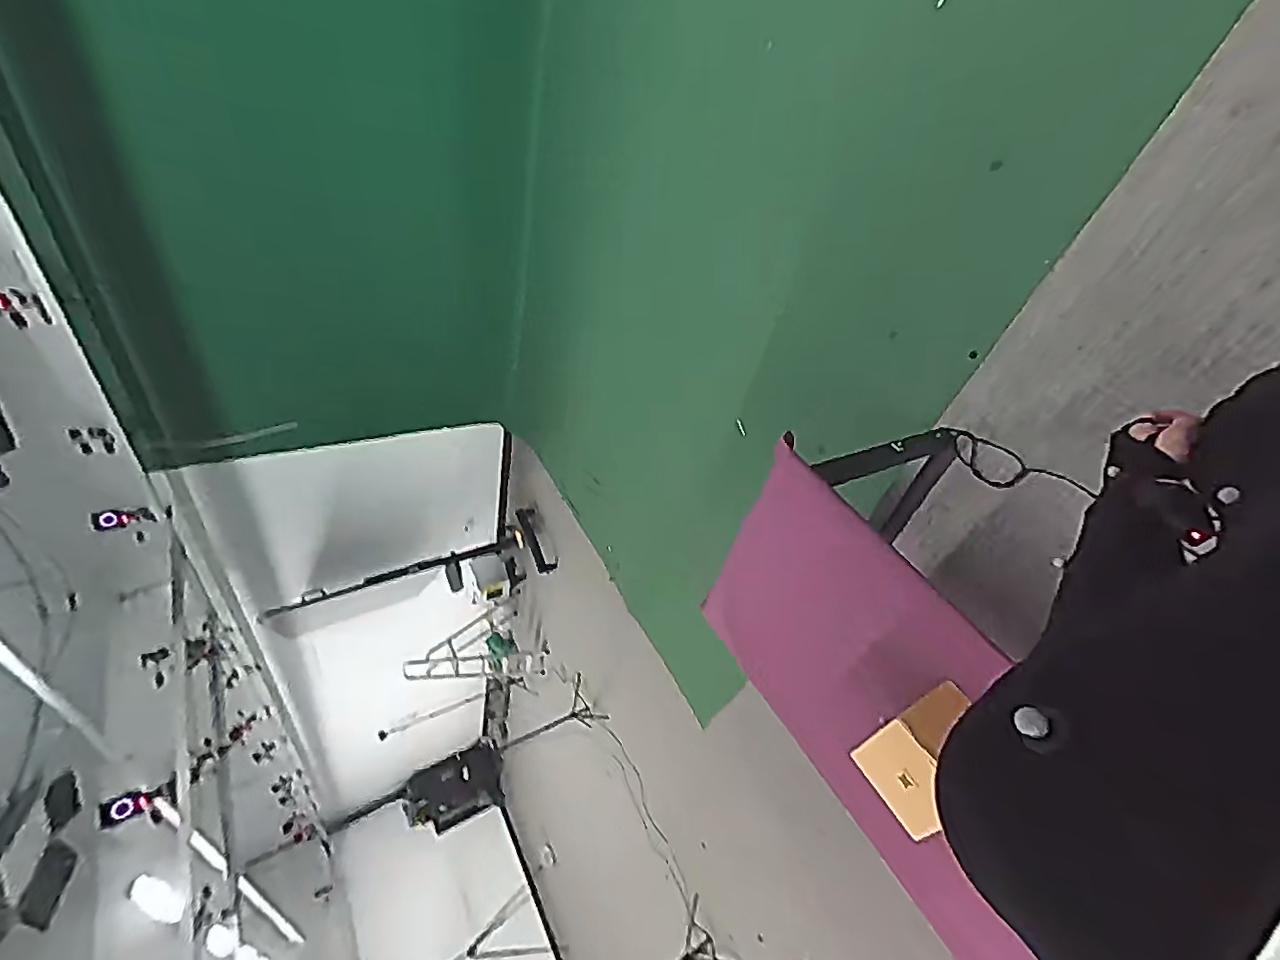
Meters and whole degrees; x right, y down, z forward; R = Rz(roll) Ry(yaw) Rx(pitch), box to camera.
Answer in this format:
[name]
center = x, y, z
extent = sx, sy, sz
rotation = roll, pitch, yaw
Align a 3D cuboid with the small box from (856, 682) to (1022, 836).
[small box]
center = 0.545, 0.506, 0.991
extent = 0.168, 0.176, 0.179
rotation = 53, 142, 34
